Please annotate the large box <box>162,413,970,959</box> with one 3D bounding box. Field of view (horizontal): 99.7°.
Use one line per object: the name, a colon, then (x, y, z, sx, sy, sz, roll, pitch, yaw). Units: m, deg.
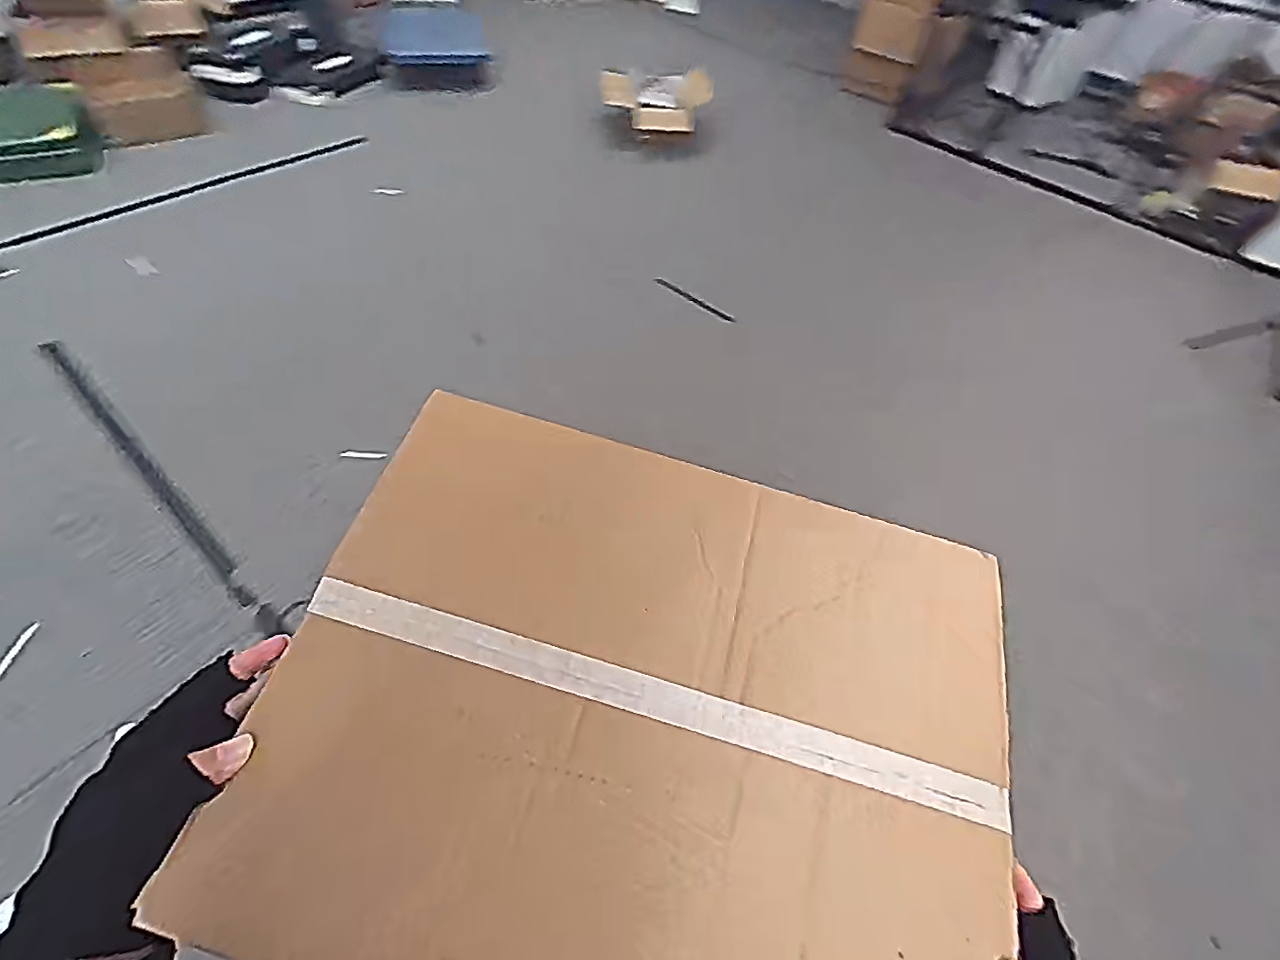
large box: (-0.018, 0.195, 0.452, 0.408, 0.320, 0.320, 15, 63, 2)
